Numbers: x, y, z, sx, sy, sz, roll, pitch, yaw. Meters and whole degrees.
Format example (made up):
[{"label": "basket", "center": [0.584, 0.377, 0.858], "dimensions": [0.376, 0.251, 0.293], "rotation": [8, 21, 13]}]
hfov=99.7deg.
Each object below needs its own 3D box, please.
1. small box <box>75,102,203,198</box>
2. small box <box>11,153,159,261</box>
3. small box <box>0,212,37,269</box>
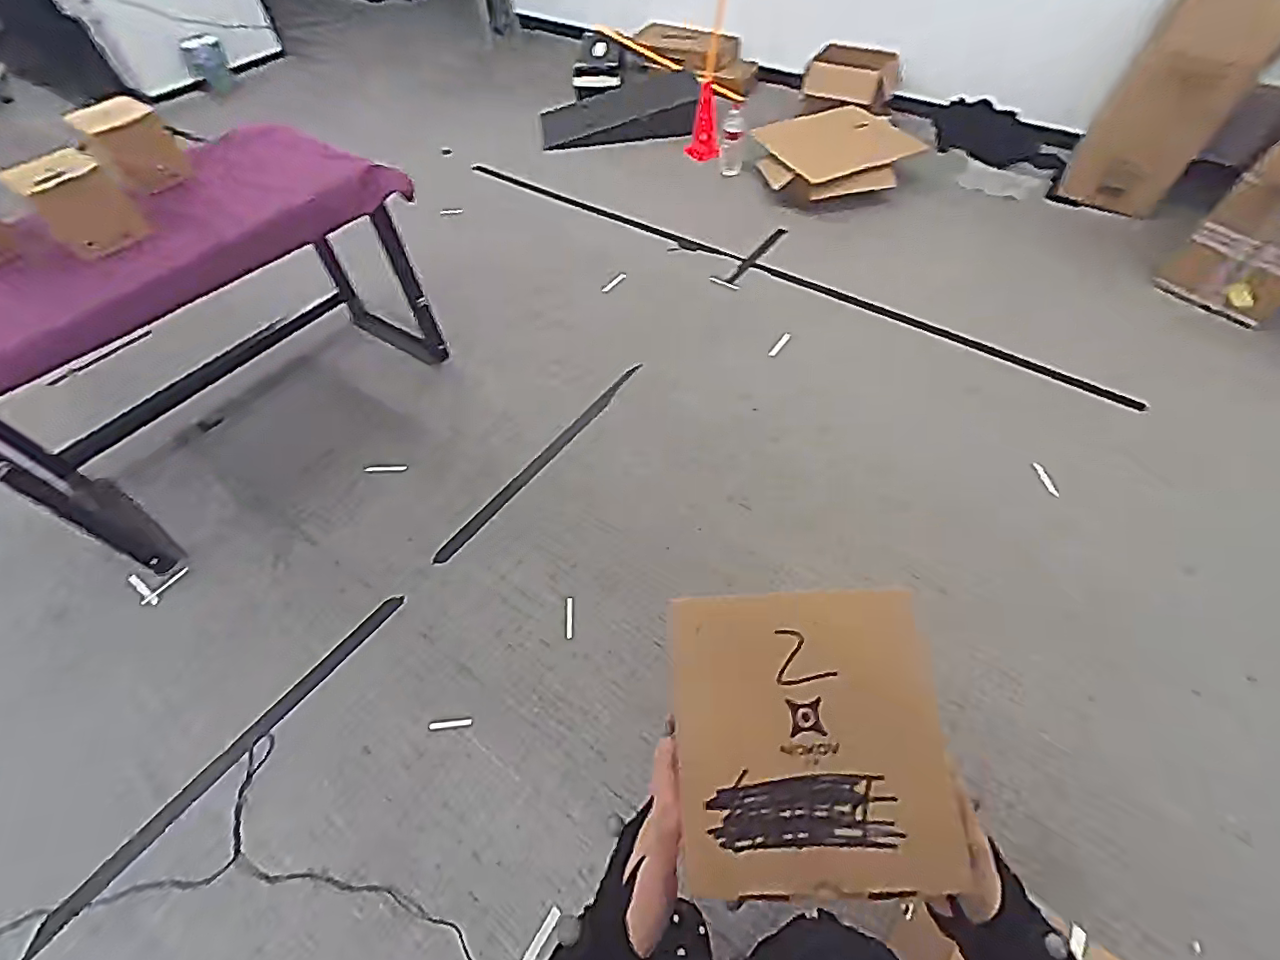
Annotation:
[{"label": "small box", "center": [-1.396, -0.922, 1.516], "dimensions": [0.179, 0.176, 0.168], "rotation": [31, 62, 20]}, {"label": "small box", "center": [-1.363, -0.672, 1.341], "dimensions": [0.179, 0.176, 0.168], "rotation": [30, 61, 22]}, {"label": "small box", "center": [-1.649, -0.615, 1.309], "dimensions": [0.179, 0.176, 0.168], "rotation": [31, 61, 19]}]
